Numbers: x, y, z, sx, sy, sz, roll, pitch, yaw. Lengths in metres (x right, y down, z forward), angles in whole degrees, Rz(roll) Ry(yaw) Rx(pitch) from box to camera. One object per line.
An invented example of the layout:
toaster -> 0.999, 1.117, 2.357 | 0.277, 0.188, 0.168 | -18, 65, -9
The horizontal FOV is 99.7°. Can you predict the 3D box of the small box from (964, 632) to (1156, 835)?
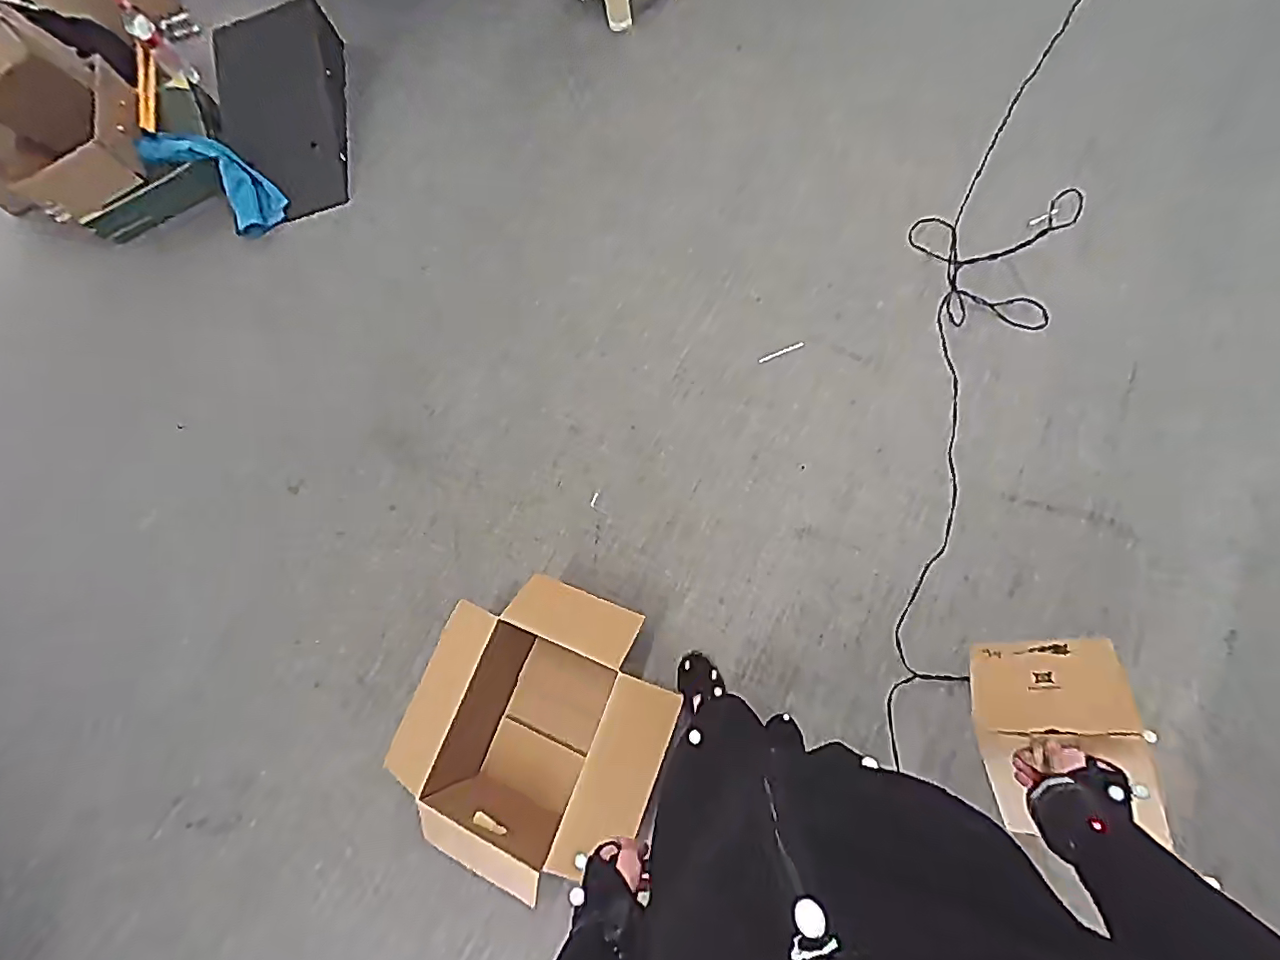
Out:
small box -> 0.545, 0.328, 0.718 | 0.168, 0.179, 0.176 | -14, 108, 35
